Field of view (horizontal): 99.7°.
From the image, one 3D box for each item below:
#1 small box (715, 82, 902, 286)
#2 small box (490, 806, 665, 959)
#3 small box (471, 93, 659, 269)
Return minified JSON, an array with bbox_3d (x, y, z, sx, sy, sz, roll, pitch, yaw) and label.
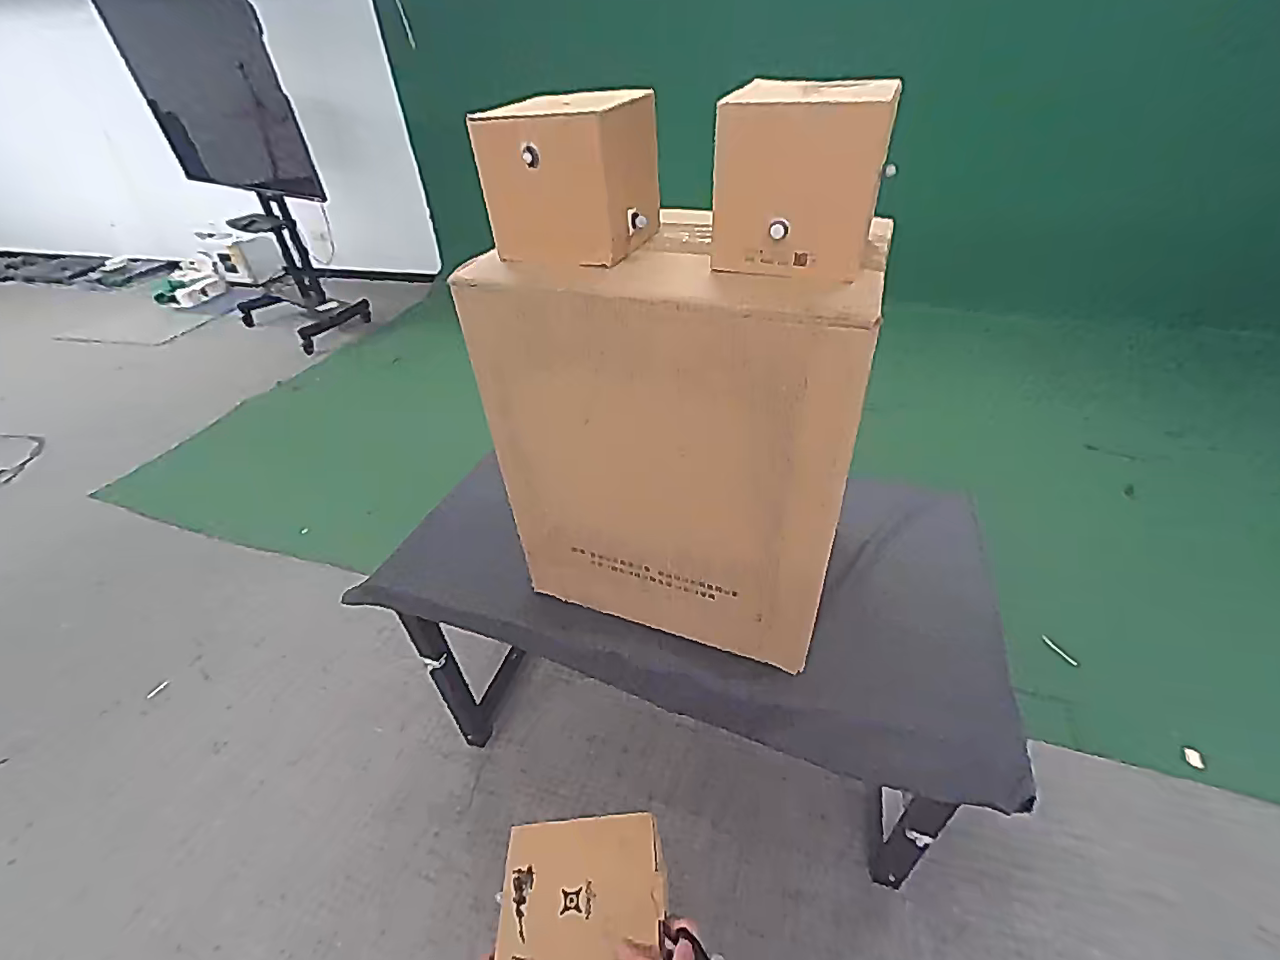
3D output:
[{"bbox_3d":[0.187,-0.345,0.623,0.168,0.176,0.179,14,45,18],"label":"small box"},{"bbox_3d":[-0.061,0.512,0.638,0.179,0.176,0.168,-5,36,2],"label":"small box"},{"bbox_3d":[-0.085,-0.390,0.707,0.179,0.176,0.168,13,45,18],"label":"small box"}]
